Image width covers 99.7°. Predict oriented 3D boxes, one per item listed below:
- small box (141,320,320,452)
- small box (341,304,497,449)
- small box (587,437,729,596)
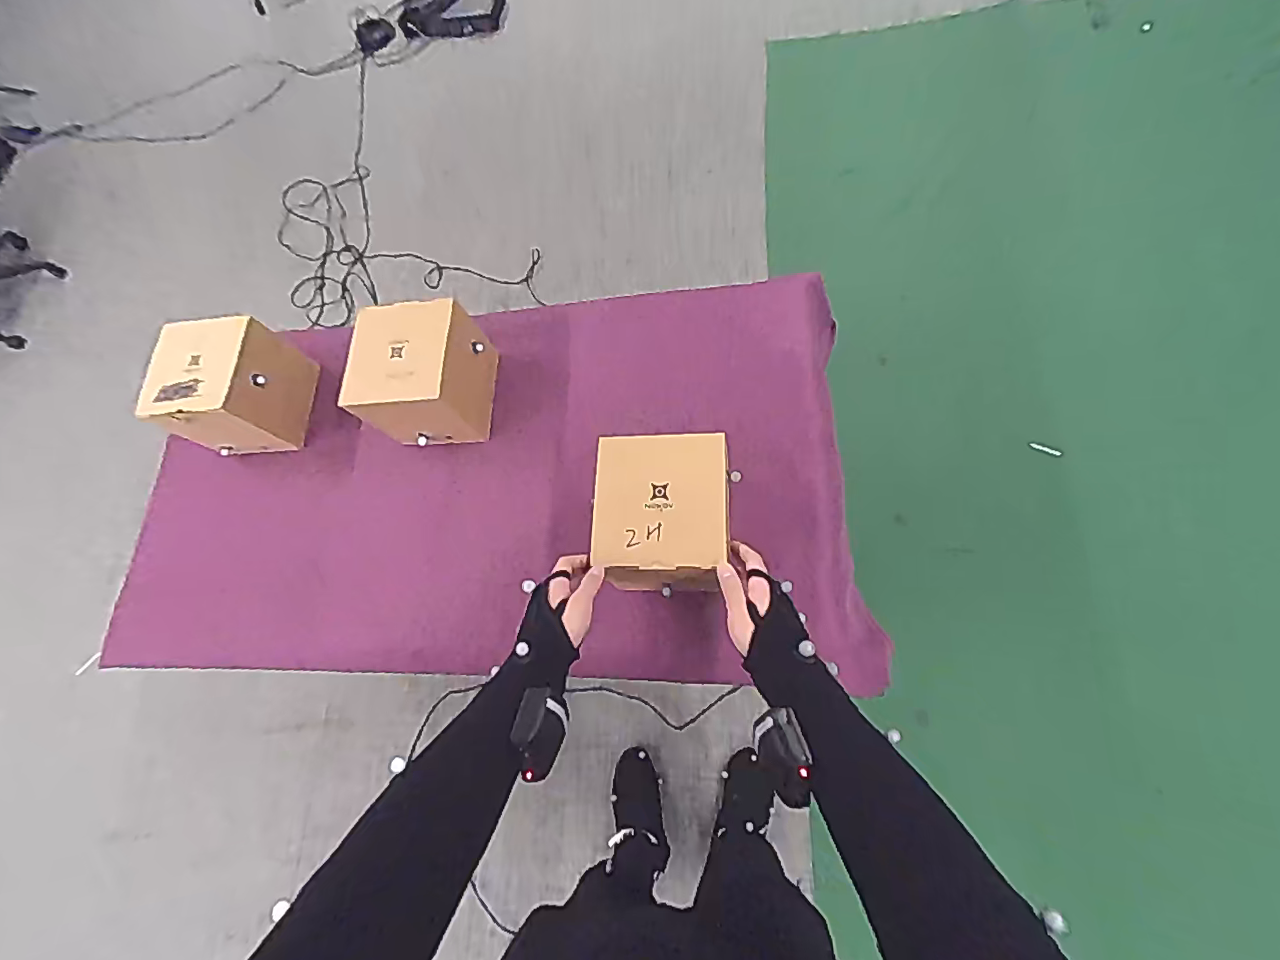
[{"bbox_3d":[-0.704,-0.154,0.953,0.168,0.176,0.179,-3,70,9],"label":"small box"},{"bbox_3d":[-0.351,-0.164,0.895,0.168,0.176,0.179,-2,71,10],"label":"small box"},{"bbox_3d":[0.035,0.055,0.741,0.168,0.176,0.179,-1,69,11],"label":"small box"}]
